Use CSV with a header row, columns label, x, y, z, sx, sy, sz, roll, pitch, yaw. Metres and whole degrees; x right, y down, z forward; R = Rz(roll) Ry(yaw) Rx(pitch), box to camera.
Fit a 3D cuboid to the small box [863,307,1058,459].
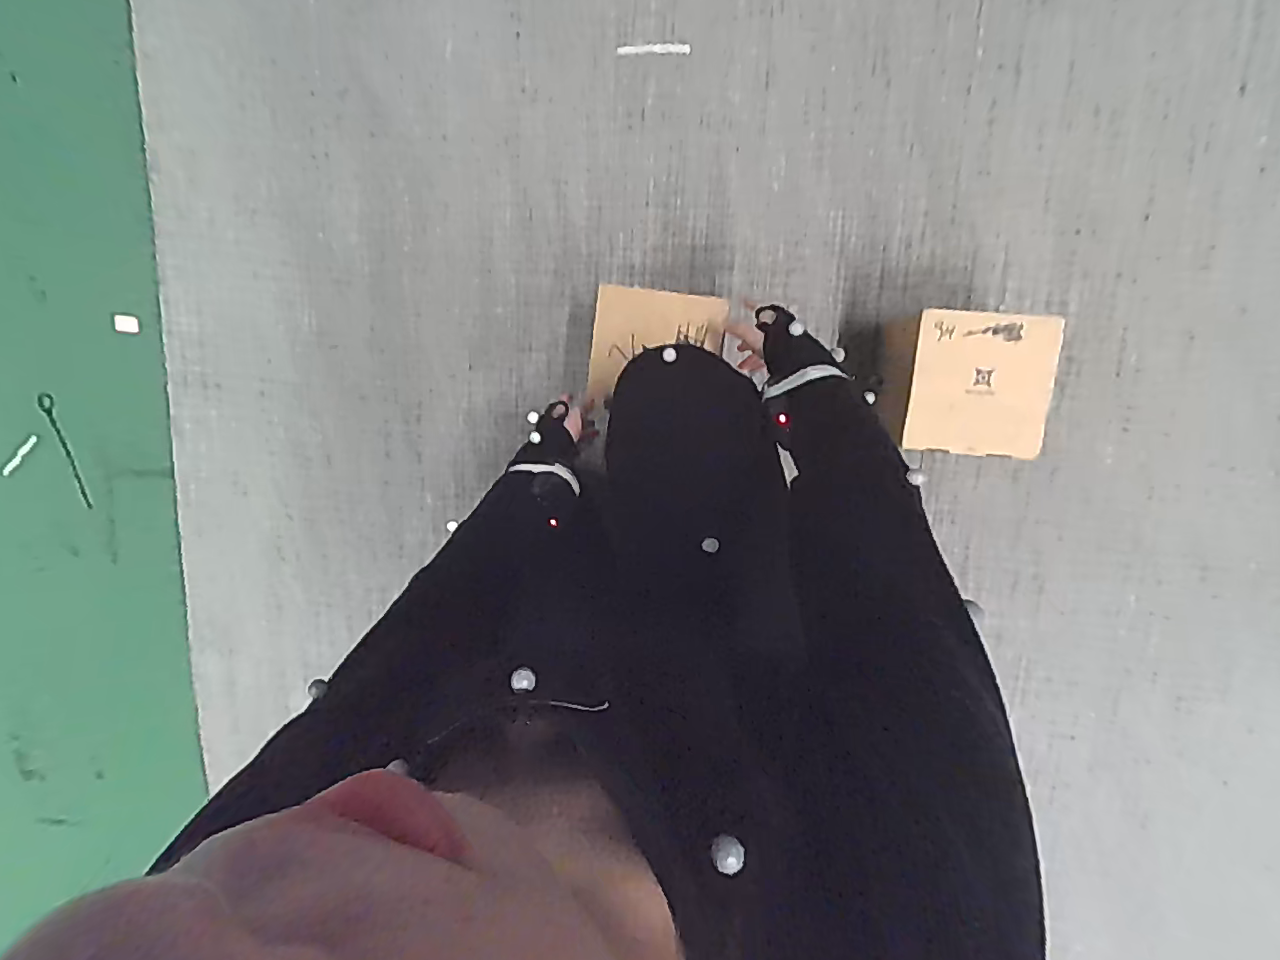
label,x,y,z,sx,sy,sz,roll,pitch,yaw
small box,0.424,-0.134,0.750,0.168,0.176,0.179,6,101,6
